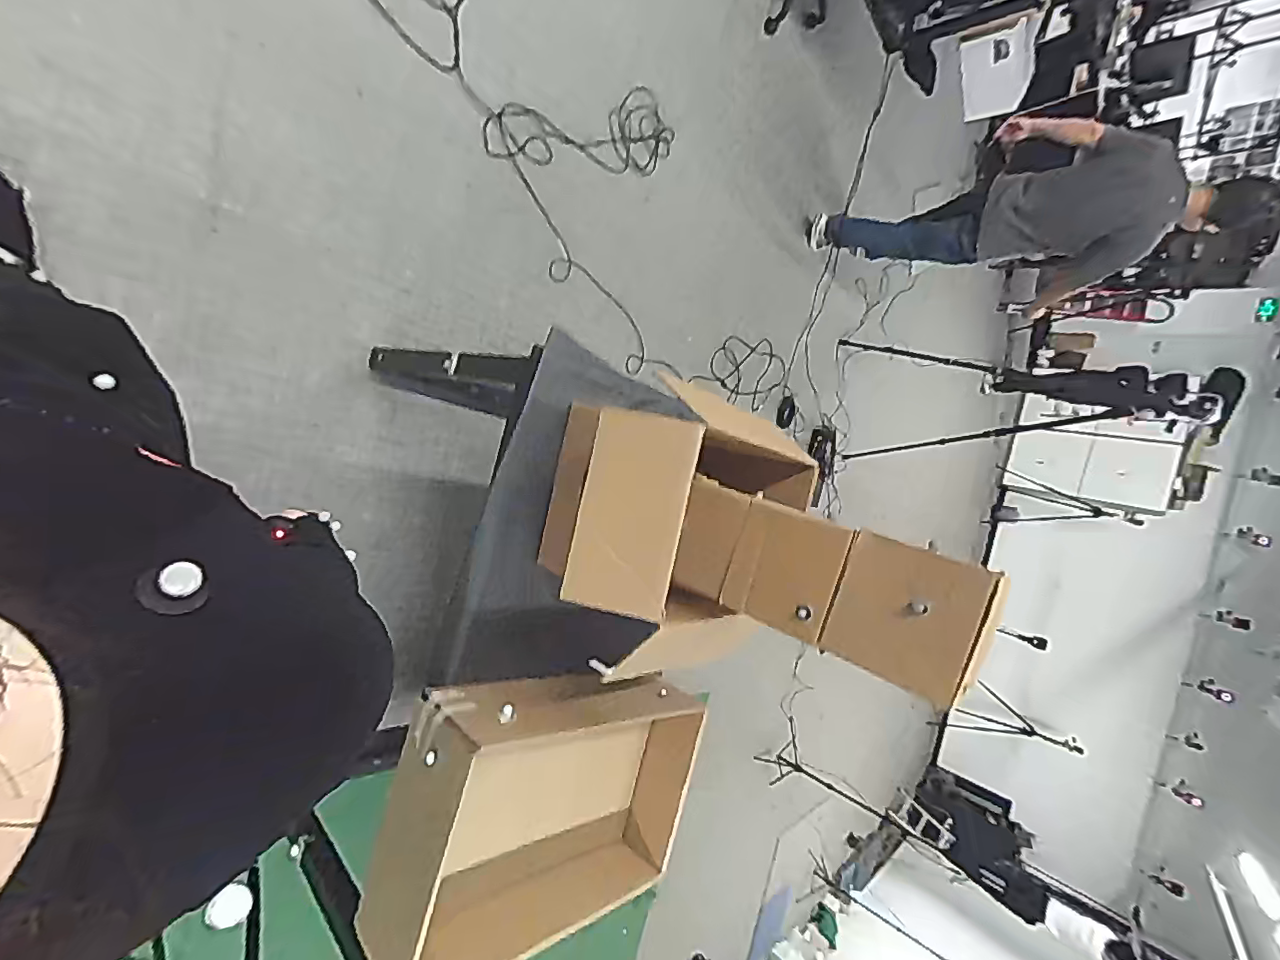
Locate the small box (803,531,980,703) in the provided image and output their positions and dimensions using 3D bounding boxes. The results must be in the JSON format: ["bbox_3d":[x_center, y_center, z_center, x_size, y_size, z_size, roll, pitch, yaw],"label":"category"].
[{"bbox_3d":[0.352,0.182,0.760,0.168,0.176,0.179,18,91,-51],"label":"small box"}]

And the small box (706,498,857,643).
[{"bbox_3d":[0.229,0.138,0.861,0.168,0.176,0.179,16,94,-51],"label":"small box"}]
